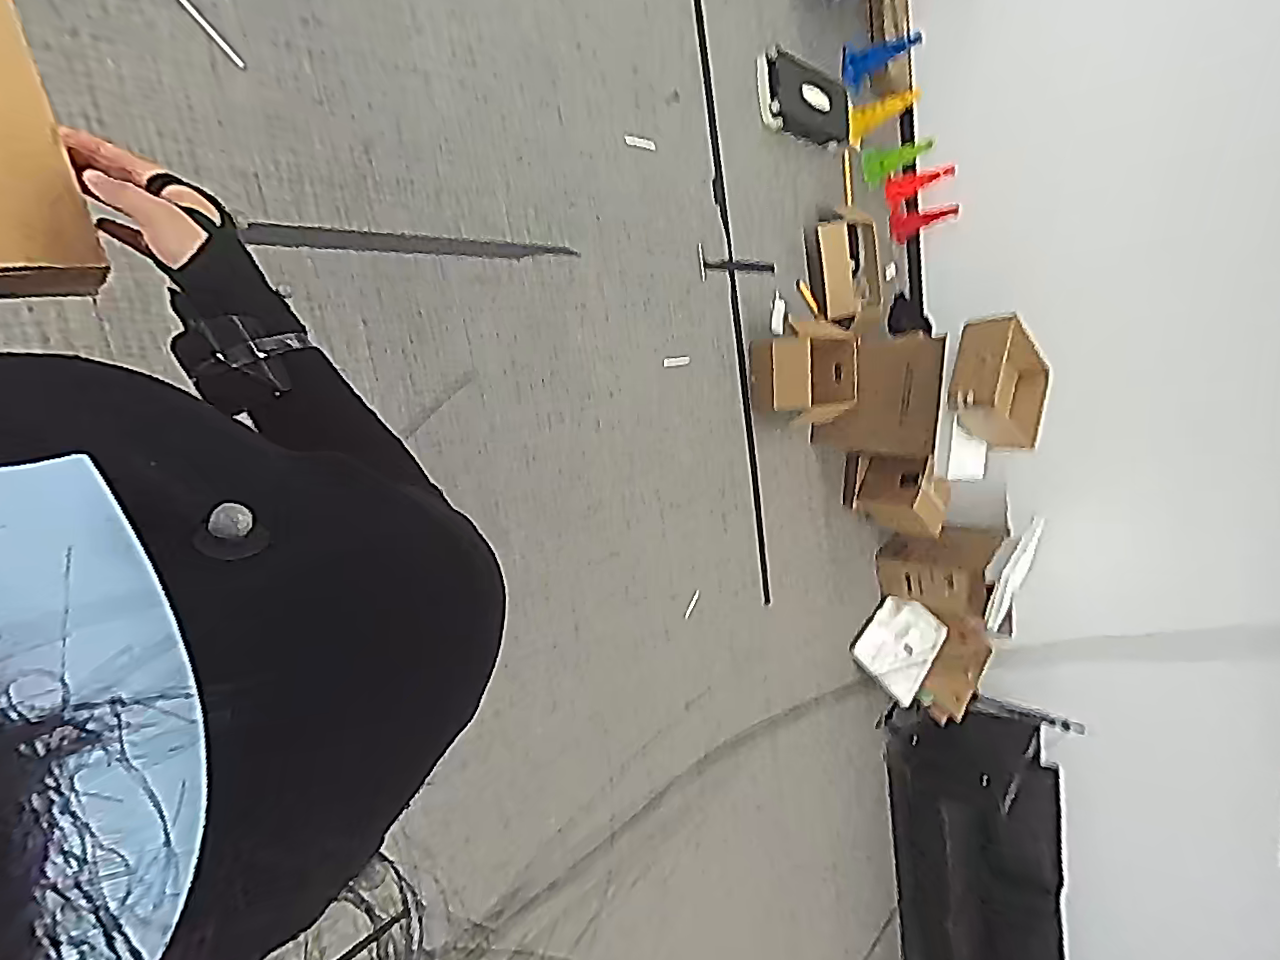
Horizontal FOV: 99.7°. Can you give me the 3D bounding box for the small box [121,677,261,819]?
[{"bbox_3d":[-0.937,0.549,1.133,0.168,0.176,0.179,-32,113,-38],"label":"small box"}]
